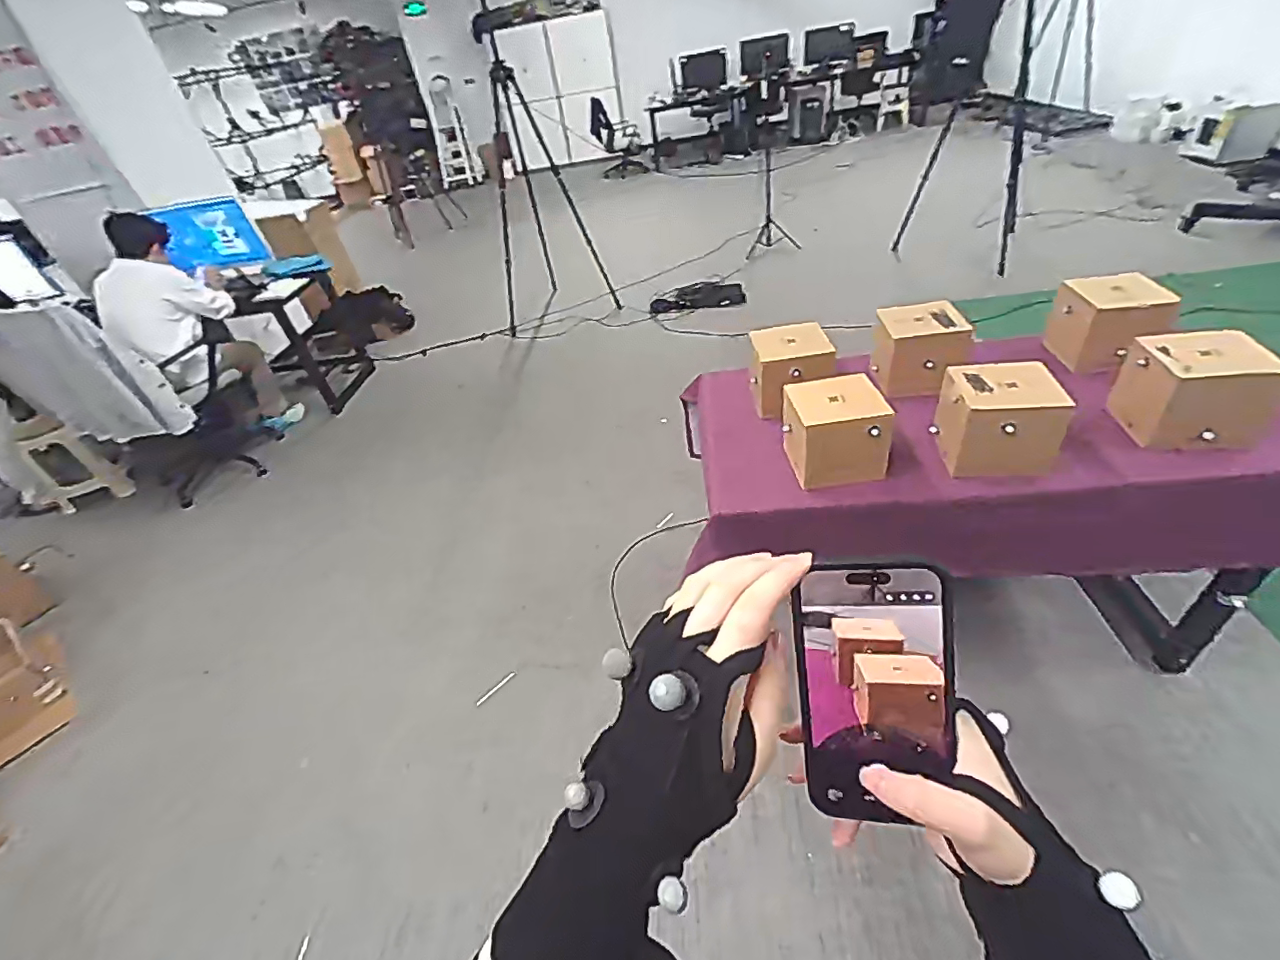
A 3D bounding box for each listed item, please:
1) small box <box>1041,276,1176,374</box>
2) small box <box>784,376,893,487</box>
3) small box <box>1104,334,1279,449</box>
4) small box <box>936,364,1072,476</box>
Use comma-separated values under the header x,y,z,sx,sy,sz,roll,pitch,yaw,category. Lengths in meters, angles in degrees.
x,y,z,sx,sy,sz,roll,pitch,yaw,category
1.120,-0.376,1.313,0.168,0.176,0.179,-3,40,11,small box
0.413,-0.101,1.156,0.179,0.176,0.168,-8,39,3,small box
1.088,-0.173,1.076,0.179,0.176,0.168,0,40,13,small box
0.721,-0.119,1.101,0.179,0.176,0.168,0,40,12,small box
